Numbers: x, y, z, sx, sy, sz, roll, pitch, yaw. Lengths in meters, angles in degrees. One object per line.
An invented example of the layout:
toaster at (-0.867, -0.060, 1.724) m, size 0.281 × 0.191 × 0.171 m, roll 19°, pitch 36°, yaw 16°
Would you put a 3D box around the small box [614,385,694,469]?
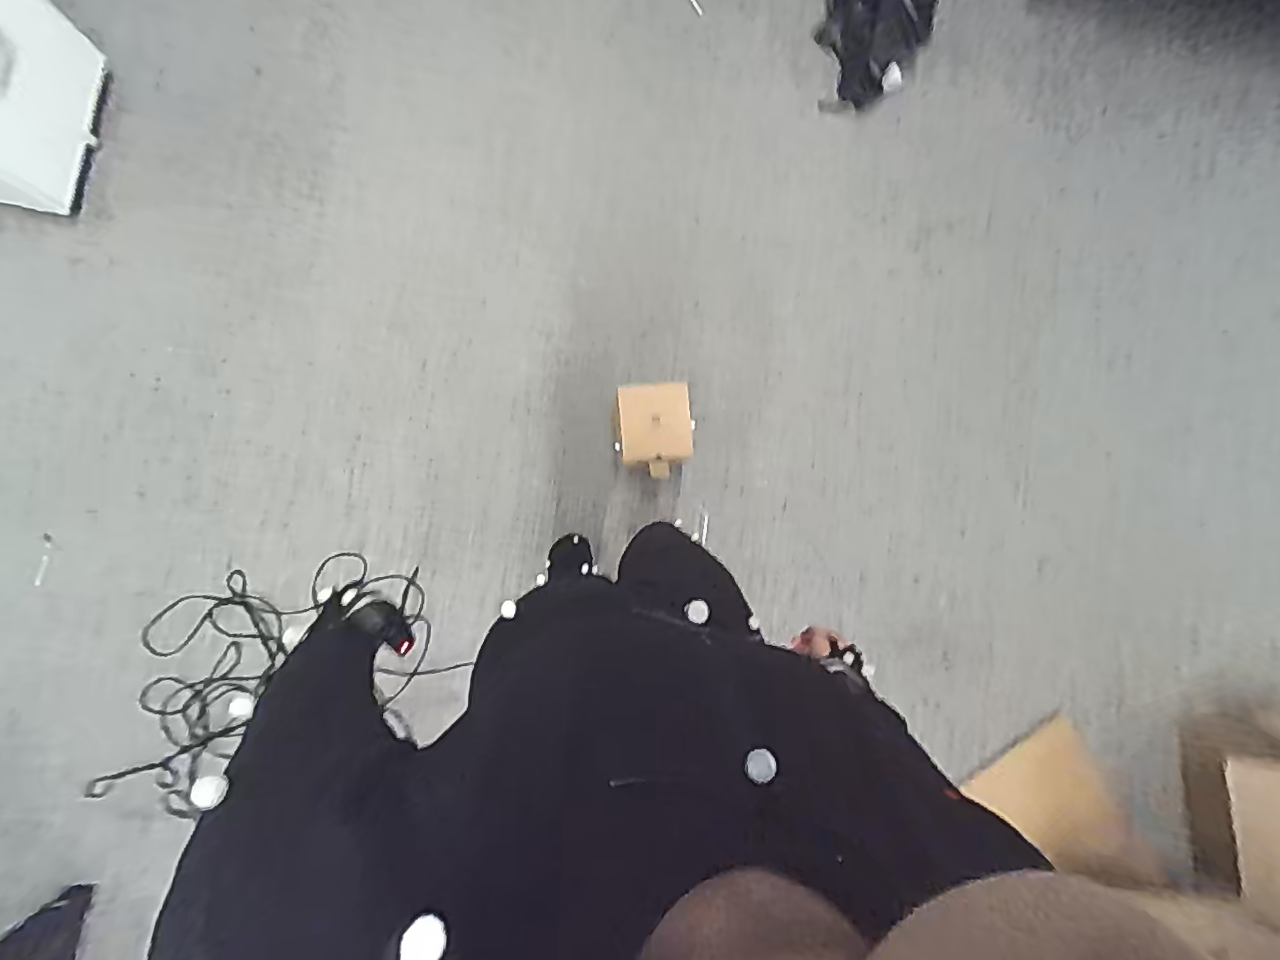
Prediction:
small box at (0.027, -0.125, 1.317) m, size 0.168 × 0.176 × 0.179 m, roll -5°, pitch 87°, yaw -7°
